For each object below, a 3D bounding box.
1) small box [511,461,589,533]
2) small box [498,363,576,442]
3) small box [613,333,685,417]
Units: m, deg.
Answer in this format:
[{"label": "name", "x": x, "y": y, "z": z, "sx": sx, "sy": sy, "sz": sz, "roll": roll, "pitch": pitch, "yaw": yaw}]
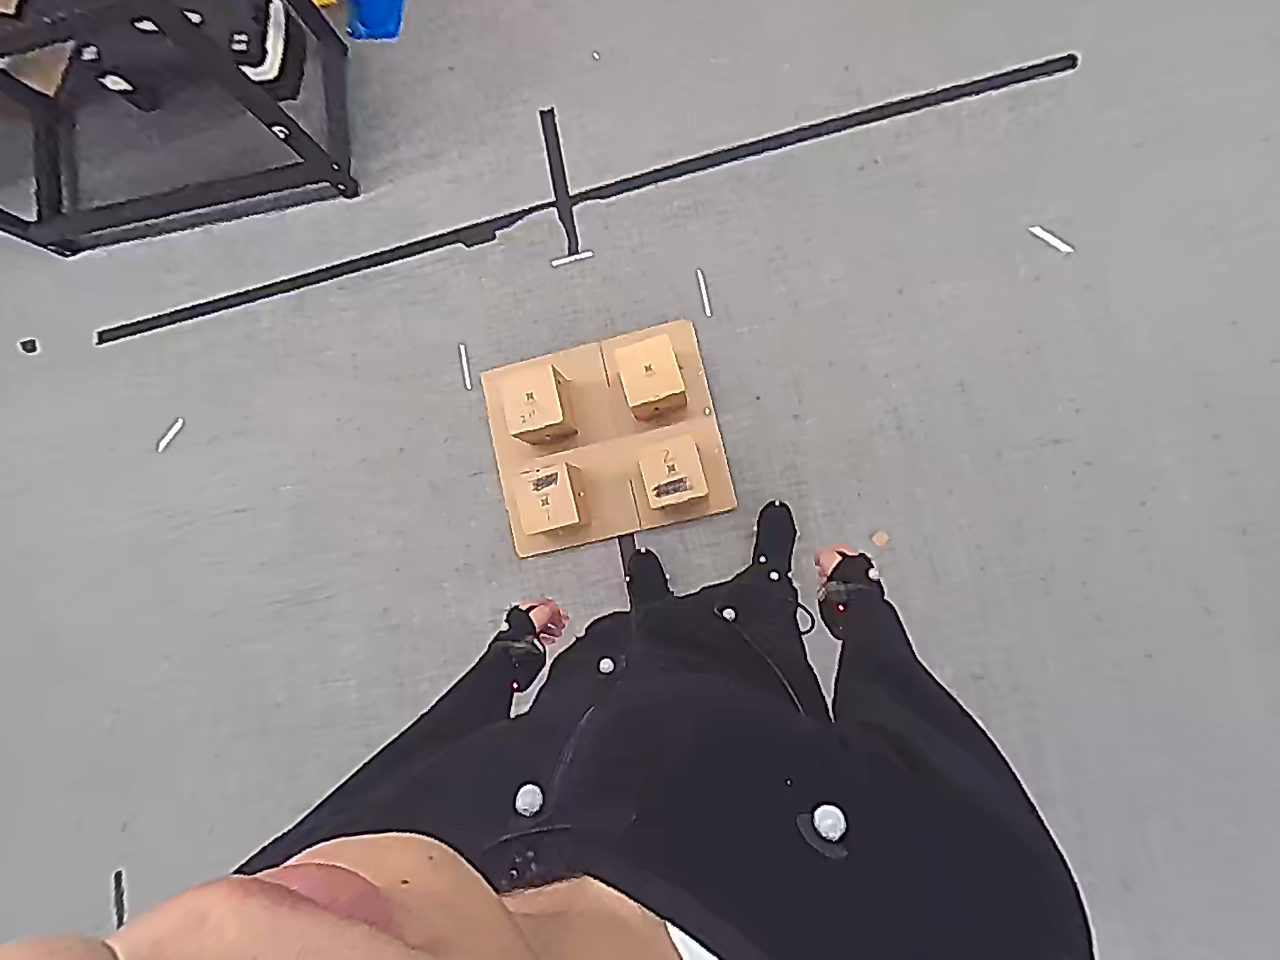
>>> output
[{"label": "small box", "x": -0.258, "y": 0.055, "z": 1.586, "sx": 0.168, "sy": 0.176, "sz": 0.179, "roll": -15, "pitch": 85, "yaw": 6}, {"label": "small box", "x": -0.303, "y": -0.226, "z": 1.614, "sx": 0.168, "sy": 0.176, "sz": 0.179, "roll": -14, "pitch": 84, "yaw": 6}, {"label": "small box", "x": 0.030, "y": -0.302, "z": 1.587, "sx": 0.168, "sy": 0.176, "sz": 0.179, "roll": -17, "pitch": 83, "yaw": 5}]
